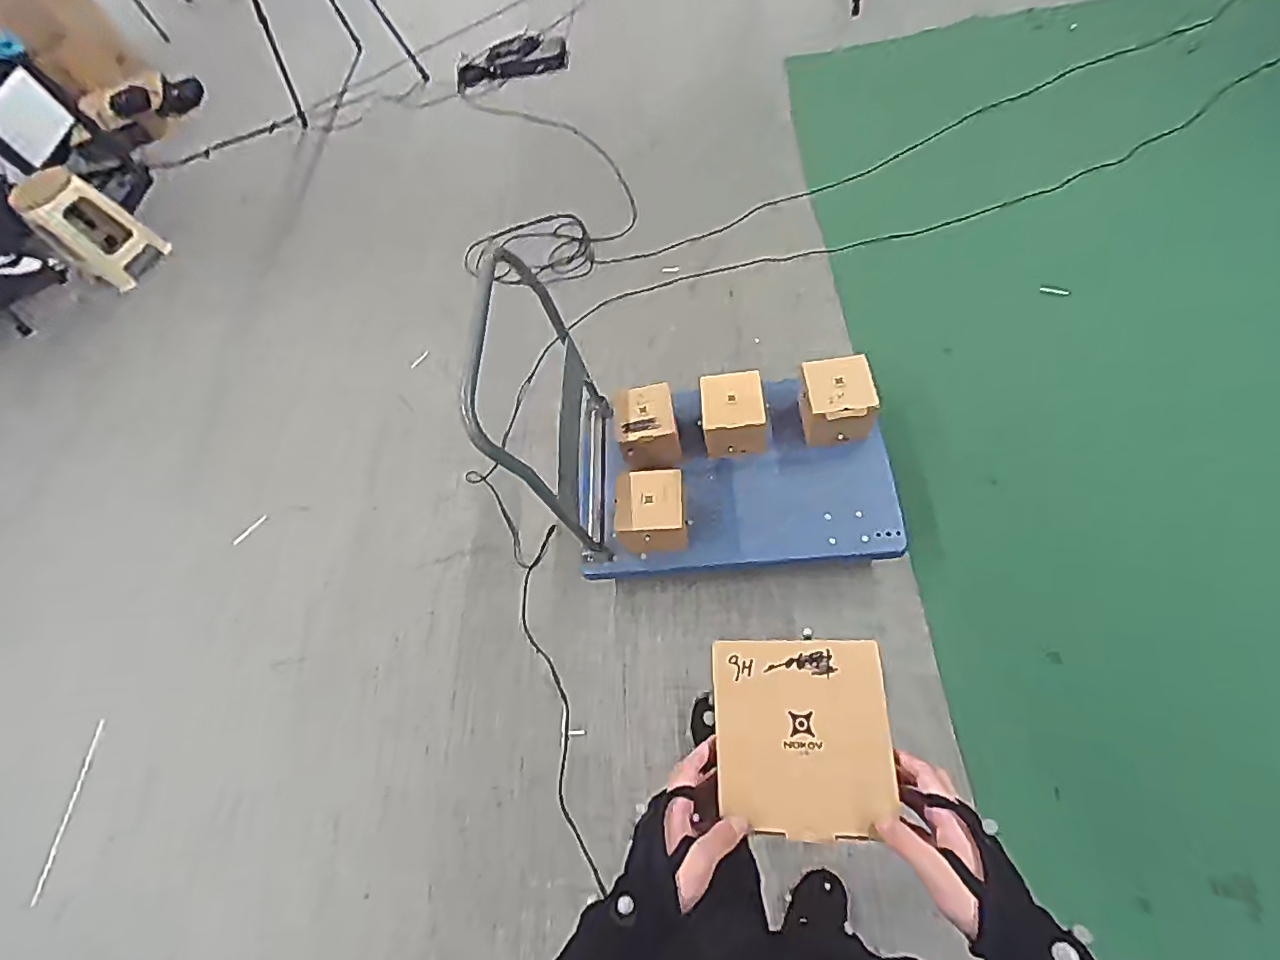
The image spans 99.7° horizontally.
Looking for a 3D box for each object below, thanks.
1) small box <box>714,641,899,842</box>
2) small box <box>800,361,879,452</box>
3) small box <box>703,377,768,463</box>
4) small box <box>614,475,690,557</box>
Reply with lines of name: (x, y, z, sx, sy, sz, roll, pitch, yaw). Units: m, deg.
small box: (0.170, 0.272, 0.601, 0.168, 0.176, 0.179, -3, 71, 8)
small box: (0.542, -0.200, 1.495, 0.168, 0.176, 0.179, -7, 62, 9)
small box: (0.268, -0.167, 1.537, 0.168, 0.176, 0.179, -5, 63, 8)
small box: (0.037, 0.101, 1.440, 0.179, 0.176, 0.168, -3, 62, 9)
